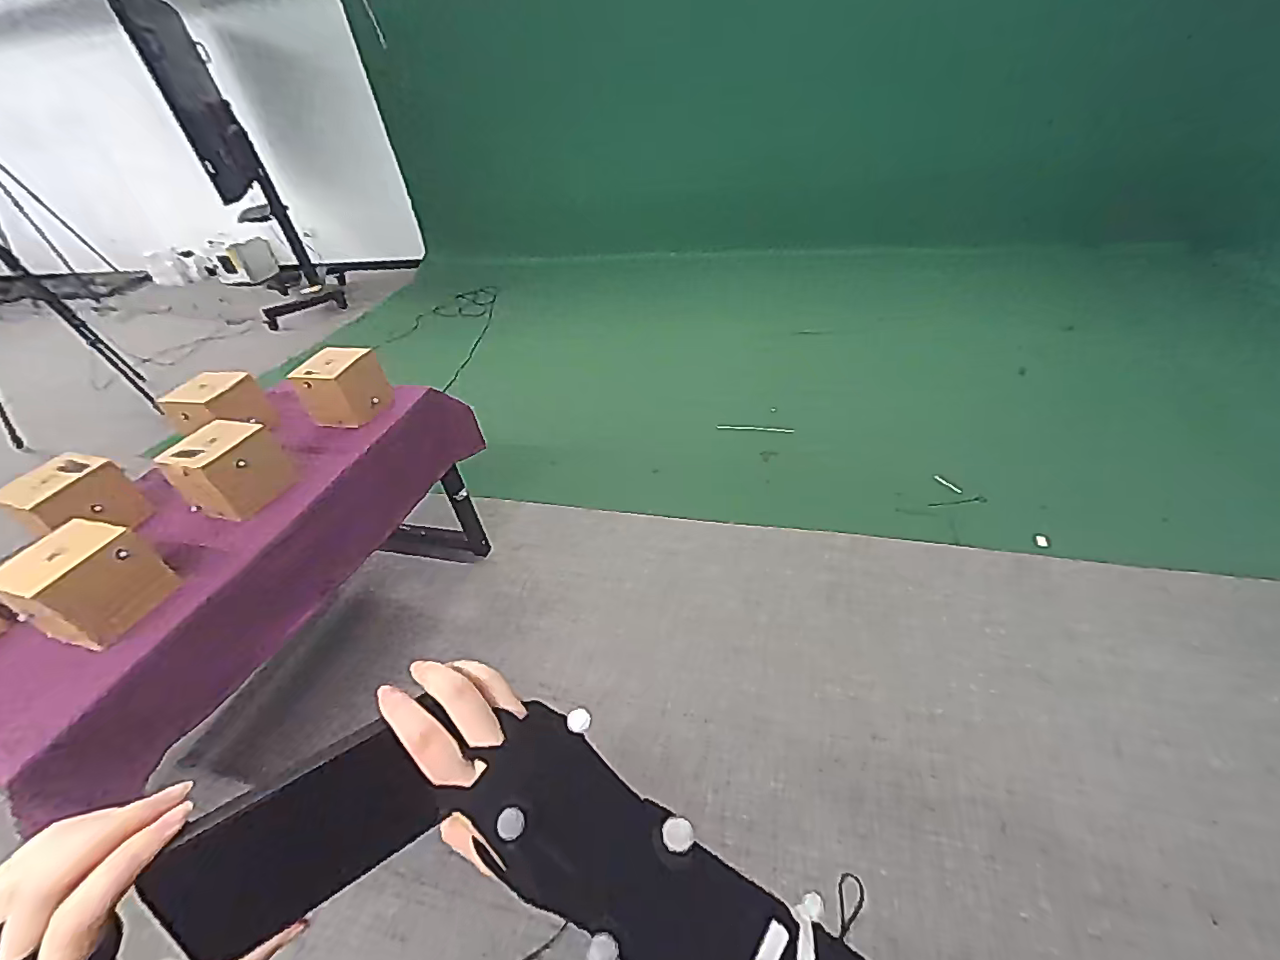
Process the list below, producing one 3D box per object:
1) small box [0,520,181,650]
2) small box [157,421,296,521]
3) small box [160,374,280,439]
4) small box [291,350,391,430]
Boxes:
[{"bbox_3d":[-1.073,0.205,1.058,0.168,0.176,0.179,6,40,17],"label":"small box"},{"bbox_3d":[-0.992,-0.021,1.316,0.168,0.176,0.179,8,41,19],"label":"small box"},{"bbox_3d":[-1.203,-0.193,1.561,0.179,0.176,0.168,4,41,14],"label":"small box"},{"bbox_3d":[-0.867,-0.268,1.592,0.168,0.176,0.179,4,41,16],"label":"small box"}]
